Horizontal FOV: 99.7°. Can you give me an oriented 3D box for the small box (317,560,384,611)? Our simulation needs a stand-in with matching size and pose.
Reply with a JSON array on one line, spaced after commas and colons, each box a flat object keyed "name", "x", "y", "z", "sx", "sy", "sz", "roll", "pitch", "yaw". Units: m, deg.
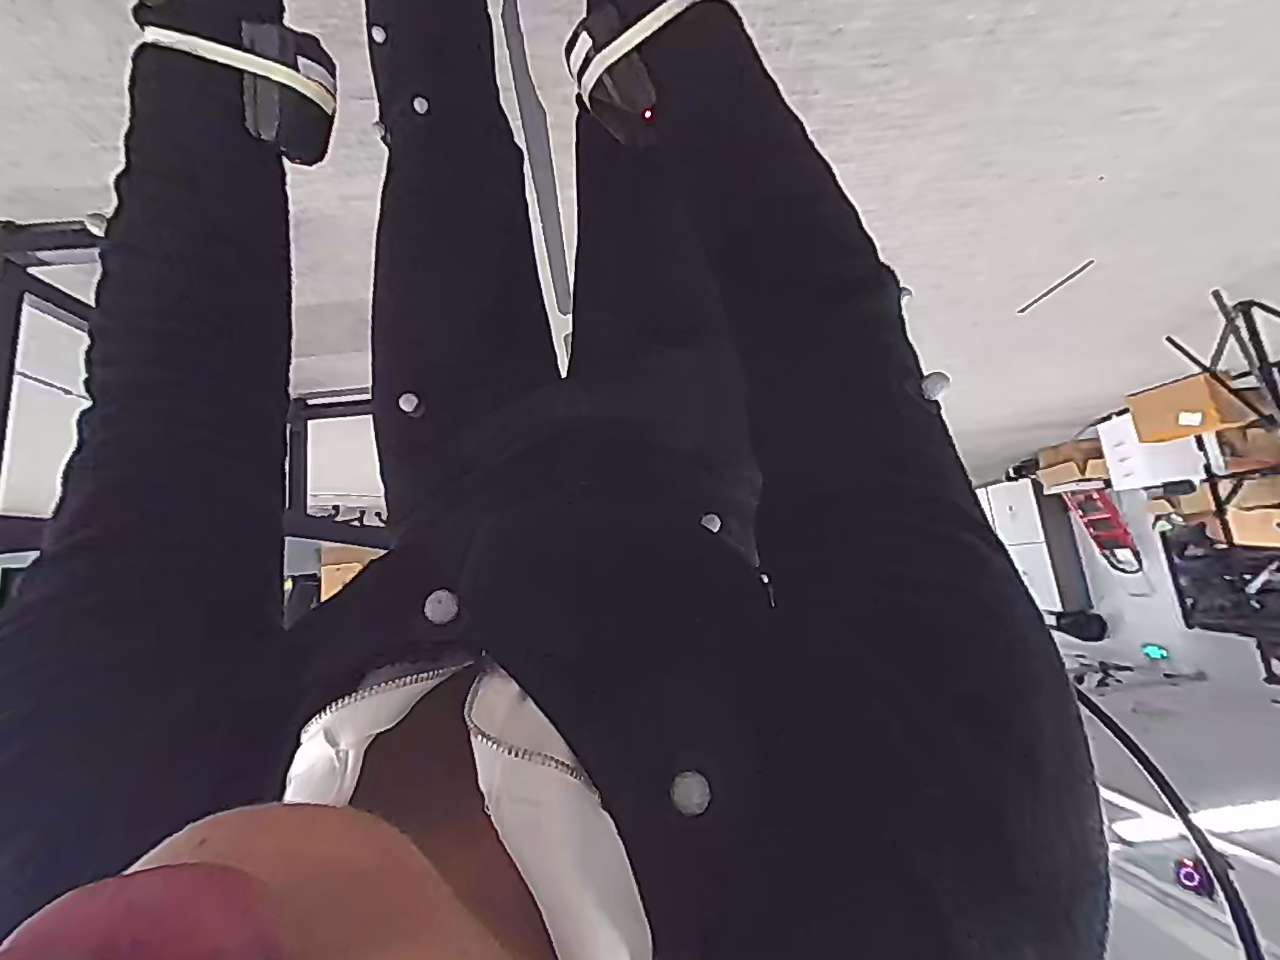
[{"name": "small box", "x": -1.073, "y": 0.390, "z": 2.005, "sx": 0.168, "sy": 0.176, "sz": 0.179, "roll": -6, "pitch": 169, "yaw": -2}]
